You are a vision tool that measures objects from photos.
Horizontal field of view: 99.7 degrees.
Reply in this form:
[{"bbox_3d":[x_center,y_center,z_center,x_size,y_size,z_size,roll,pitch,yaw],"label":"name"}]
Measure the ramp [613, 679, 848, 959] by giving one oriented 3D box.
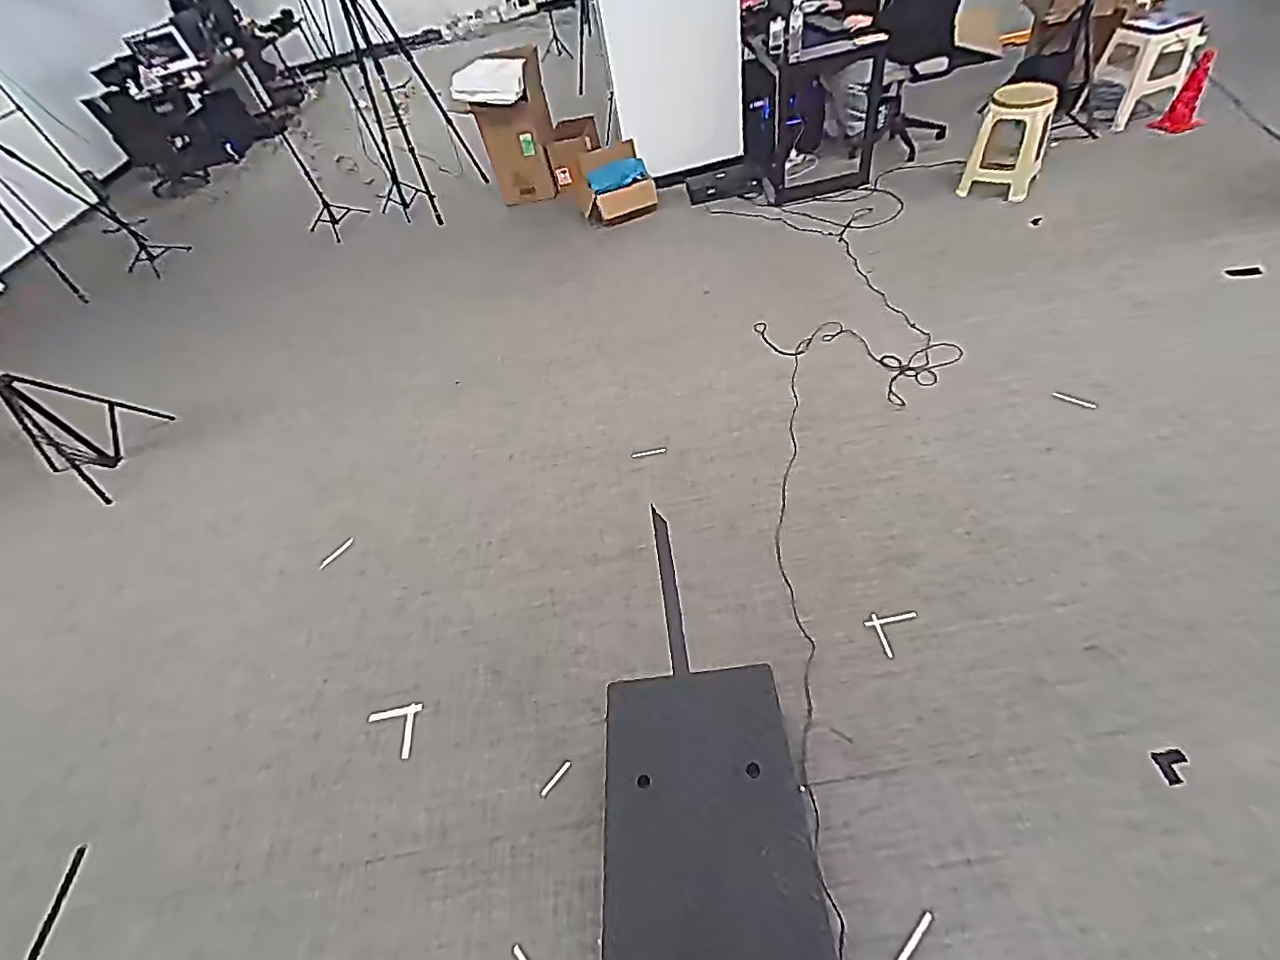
[{"bbox_3d":[0.176,0.933,1.217,0.509,0.206,0.991,-12,47,5],"label":"ramp"}]
